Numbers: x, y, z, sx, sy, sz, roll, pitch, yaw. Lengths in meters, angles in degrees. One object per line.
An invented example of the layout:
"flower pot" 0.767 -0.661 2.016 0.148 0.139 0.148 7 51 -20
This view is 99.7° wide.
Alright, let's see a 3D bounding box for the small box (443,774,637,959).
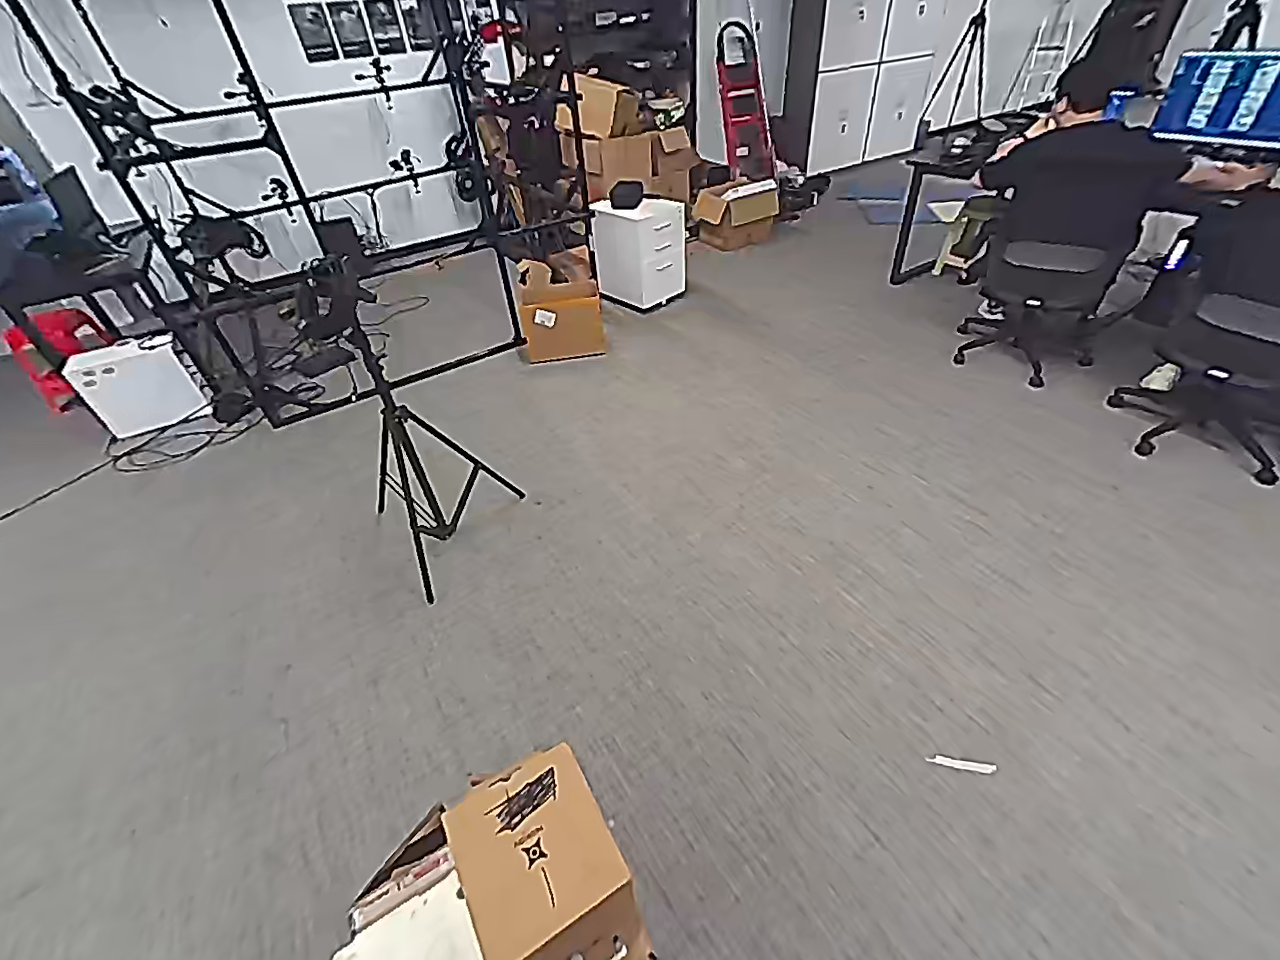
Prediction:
"small box" -0.115 0.507 0.651 0.168 0.176 0.179 -23 46 -22
